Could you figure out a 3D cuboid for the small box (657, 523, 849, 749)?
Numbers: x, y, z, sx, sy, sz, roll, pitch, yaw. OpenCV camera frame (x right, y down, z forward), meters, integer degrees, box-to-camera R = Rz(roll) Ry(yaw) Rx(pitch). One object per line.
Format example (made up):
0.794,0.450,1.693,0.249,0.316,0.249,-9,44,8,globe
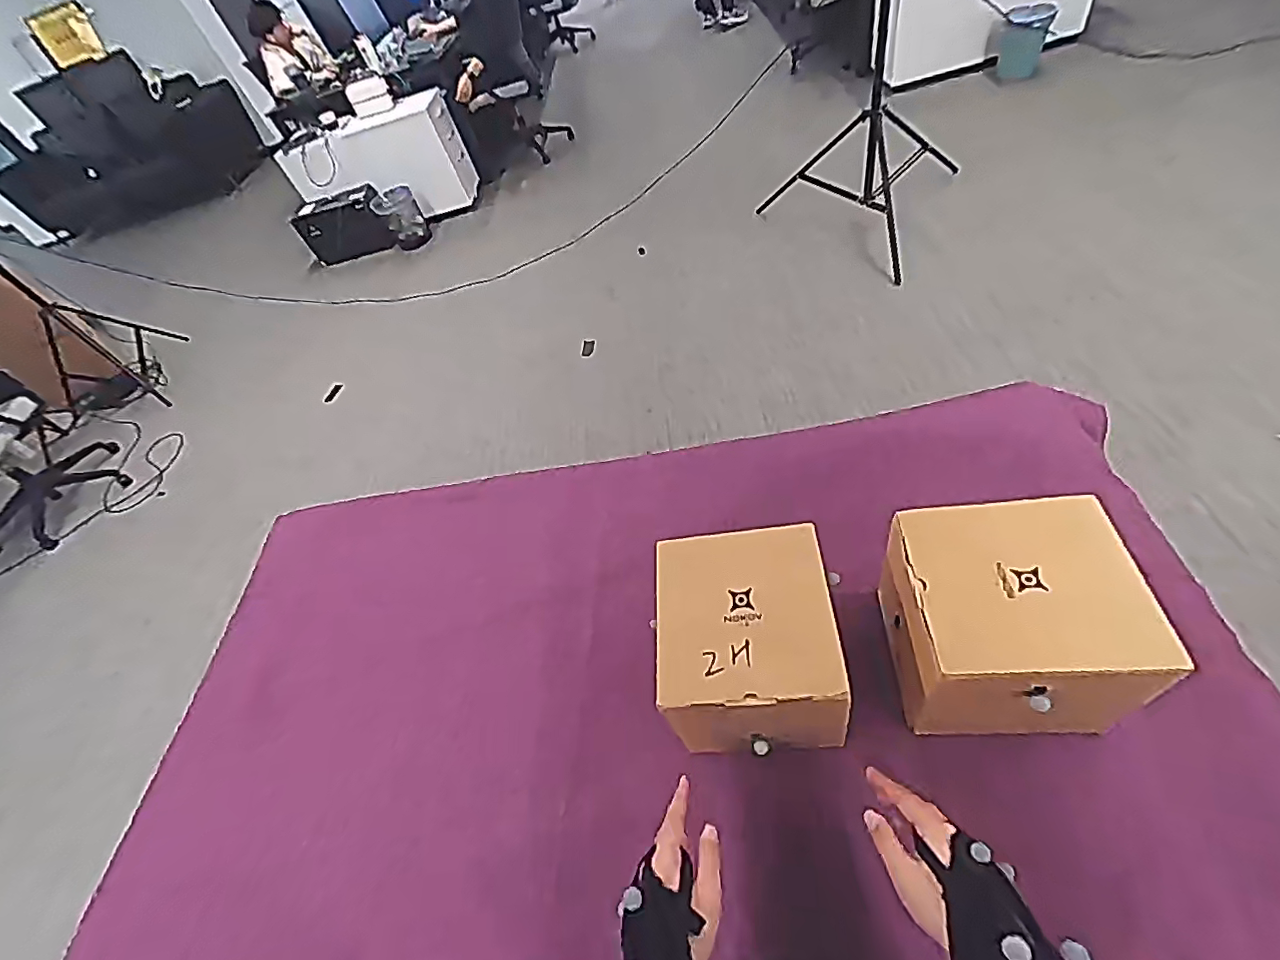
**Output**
0.116,0.170,0.574,0.168,0.176,0.179,-8,50,12,small box

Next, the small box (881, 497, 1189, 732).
0.351,0.137,0.529,0.179,0.176,0.168,-7,49,13,small box
